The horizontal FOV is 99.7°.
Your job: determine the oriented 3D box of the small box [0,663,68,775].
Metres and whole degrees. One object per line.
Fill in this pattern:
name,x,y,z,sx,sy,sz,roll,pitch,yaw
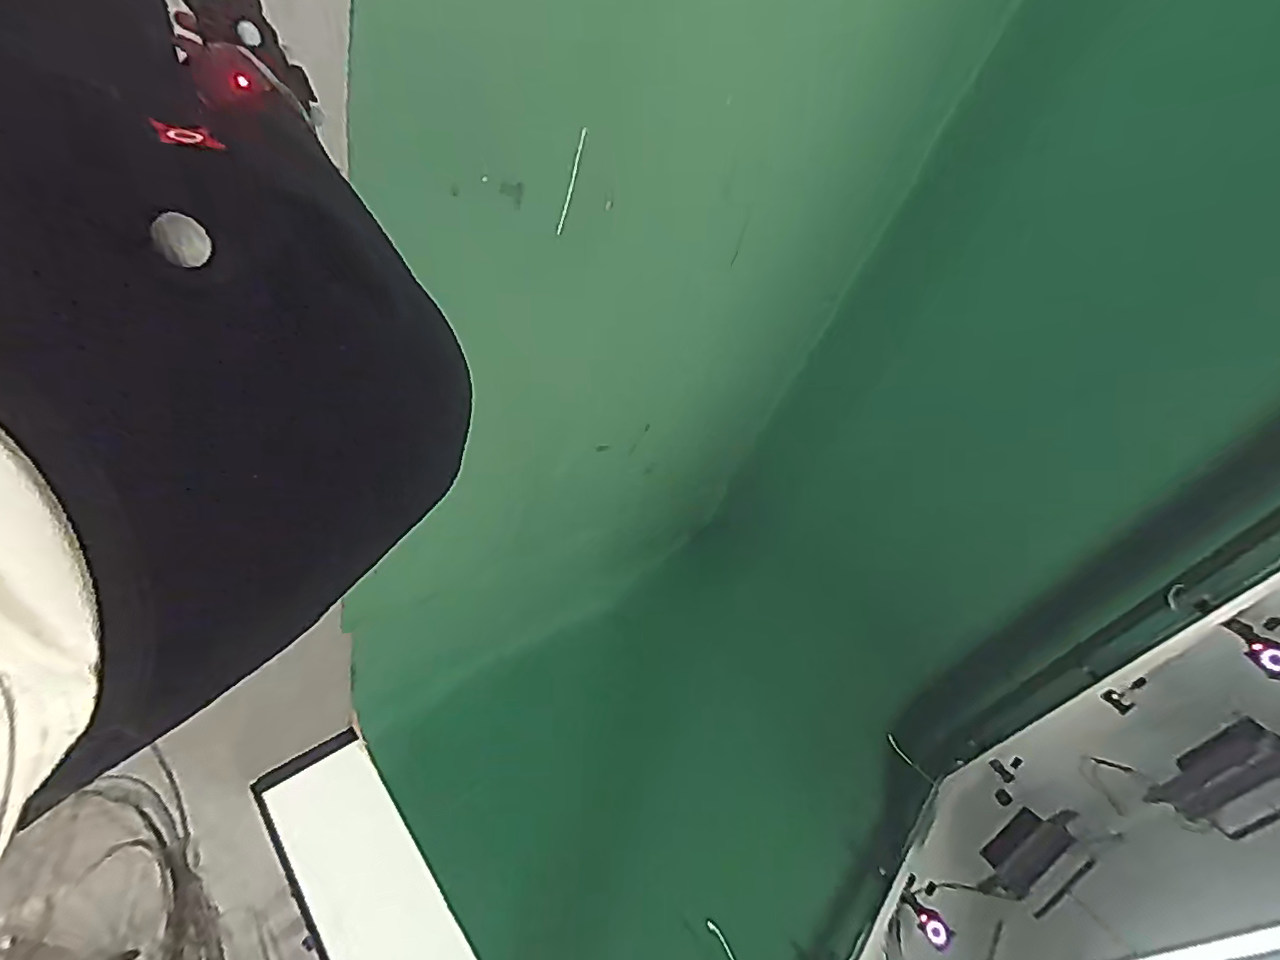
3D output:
small box,-1.511,0.573,1.281,0.179,0.176,0.168,-19,142,-47
